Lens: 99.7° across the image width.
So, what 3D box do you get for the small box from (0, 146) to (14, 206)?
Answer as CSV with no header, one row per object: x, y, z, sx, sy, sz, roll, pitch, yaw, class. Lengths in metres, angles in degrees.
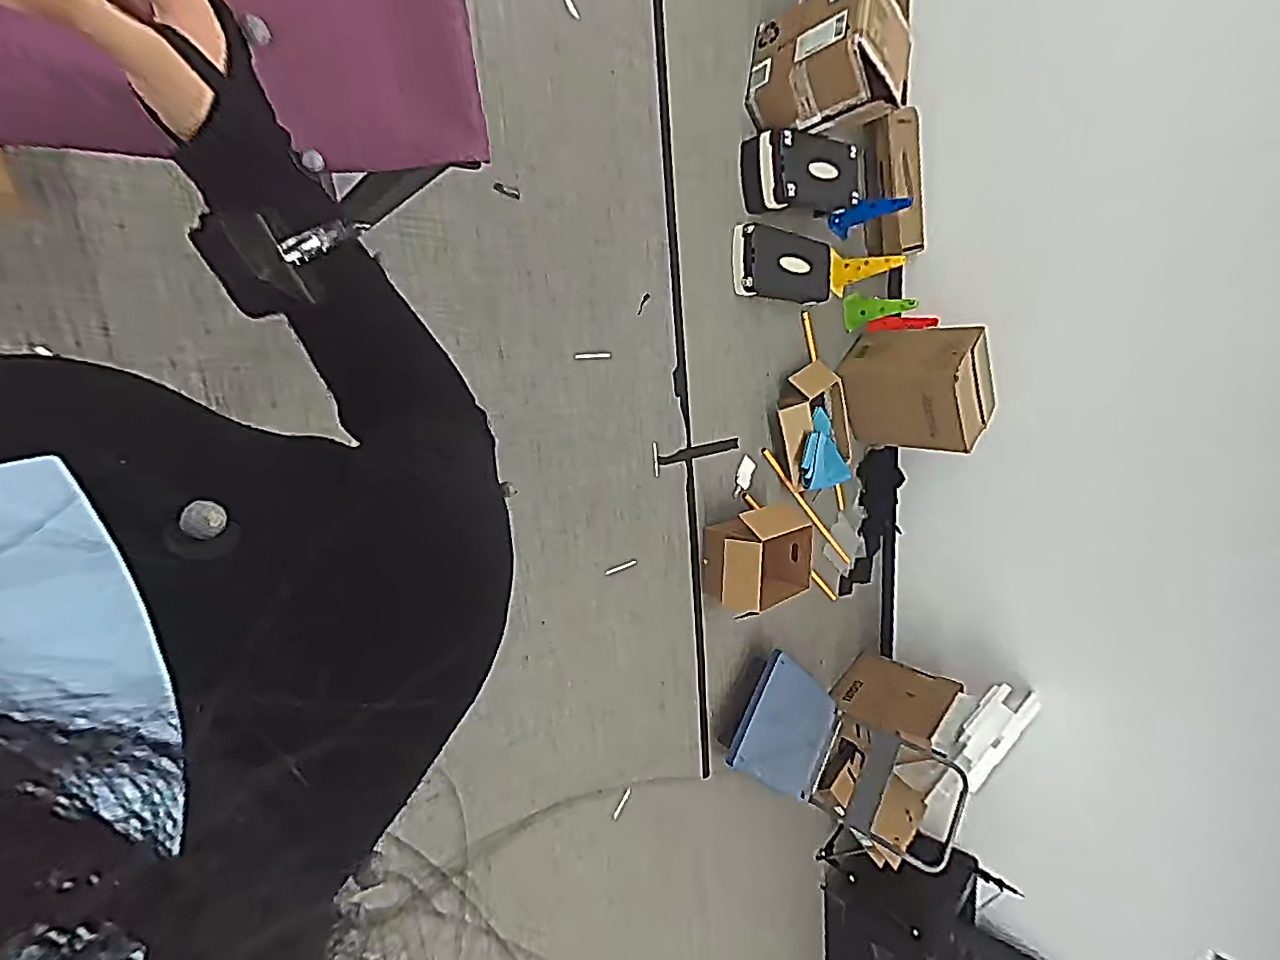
-1.132,-0.548,0.846,0.168,0.176,0.179,-14,106,-42,small box

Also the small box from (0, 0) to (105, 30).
-0.368,-0.340,0.237,0.168,0.176,0.179,-3,126,-36,small box
